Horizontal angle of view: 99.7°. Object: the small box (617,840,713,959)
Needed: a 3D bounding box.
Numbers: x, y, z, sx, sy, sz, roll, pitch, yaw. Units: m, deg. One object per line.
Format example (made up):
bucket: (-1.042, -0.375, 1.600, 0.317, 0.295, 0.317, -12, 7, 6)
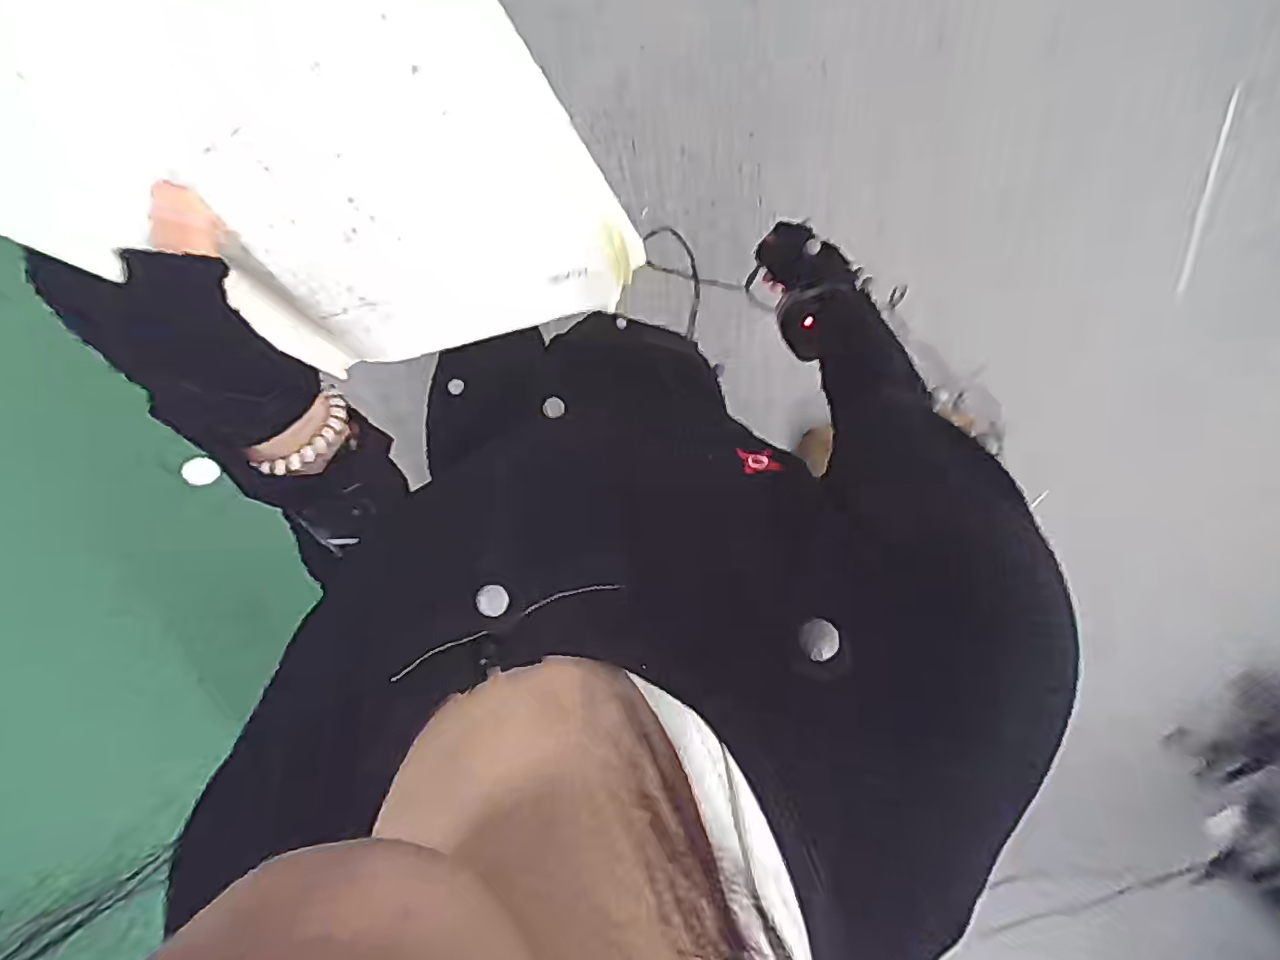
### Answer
small box: (0.048, 0.866, 1.081, 0.168, 0.176, 0.179, -8, 115, -4)
